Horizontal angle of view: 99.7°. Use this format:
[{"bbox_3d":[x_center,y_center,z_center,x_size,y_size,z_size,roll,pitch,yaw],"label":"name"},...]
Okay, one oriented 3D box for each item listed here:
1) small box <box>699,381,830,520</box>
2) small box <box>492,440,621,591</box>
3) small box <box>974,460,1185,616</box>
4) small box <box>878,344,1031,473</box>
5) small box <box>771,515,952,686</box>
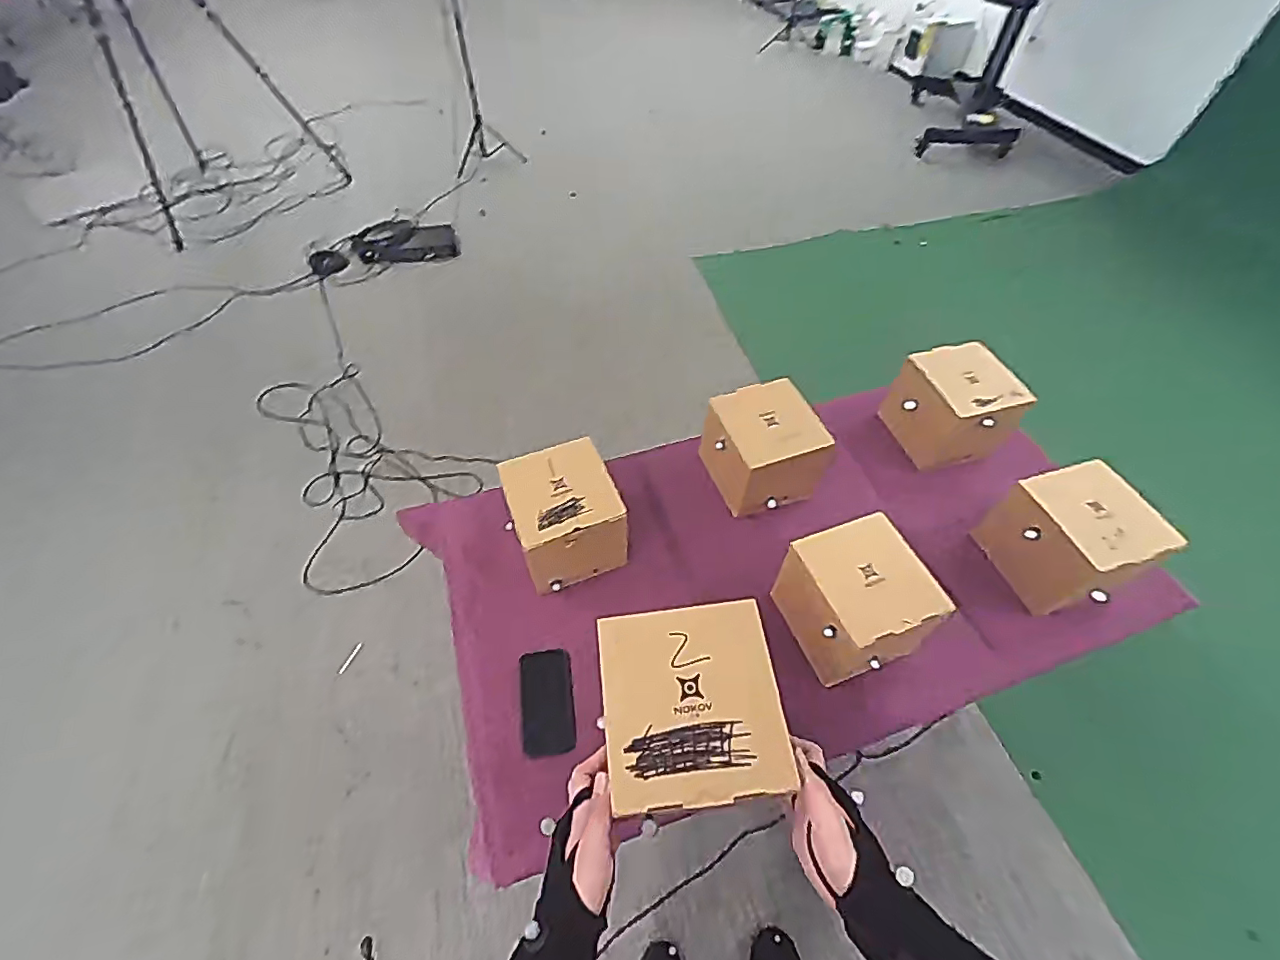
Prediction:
[{"bbox_3d":[0.220,-0.054,1.016,0.168,0.176,0.179,-16,56,-12],"label":"small box"},{"bbox_3d":[-0.136,0.067,0.918,0.168,0.176,0.179,-18,54,-15],"label":"small box"},{"bbox_3d":[0.709,0.098,0.901,0.168,0.176,0.179,-14,54,-9],"label":"small box"},{"bbox_3d":[0.615,-0.143,1.087,0.168,0.176,0.179,-13,54,-10],"label":"small box"},{"bbox_3d":[0.323,0.186,0.835,0.168,0.176,0.179,-16,54,-13],"label":"small box"}]
